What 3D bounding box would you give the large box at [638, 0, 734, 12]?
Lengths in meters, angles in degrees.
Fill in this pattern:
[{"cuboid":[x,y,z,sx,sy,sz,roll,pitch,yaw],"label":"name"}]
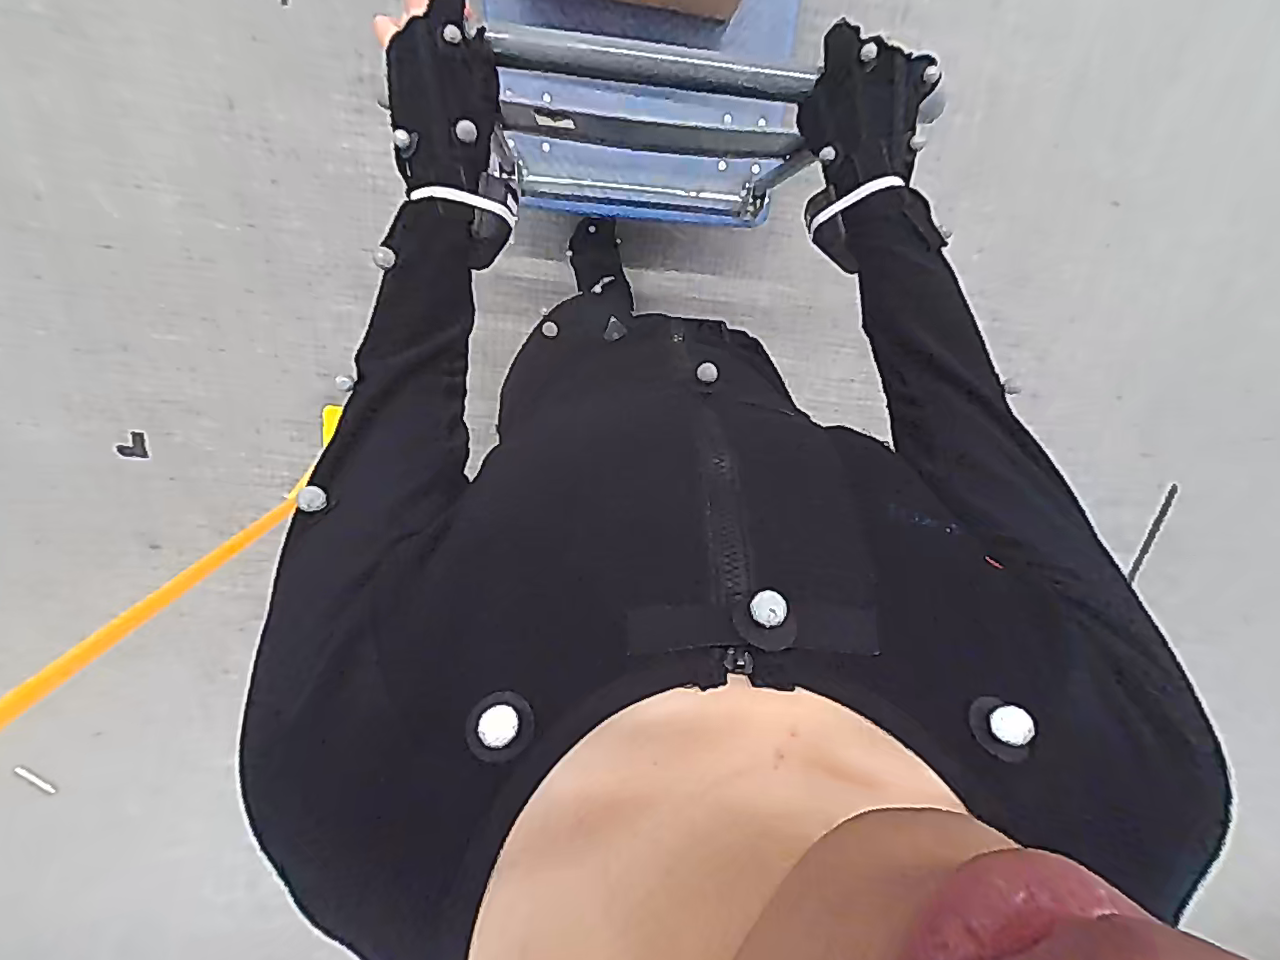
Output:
[{"cuboid":[-0.005,-0.968,0.802,0.408,0.320,0.320,4,111,-6],"label":"large box"}]
